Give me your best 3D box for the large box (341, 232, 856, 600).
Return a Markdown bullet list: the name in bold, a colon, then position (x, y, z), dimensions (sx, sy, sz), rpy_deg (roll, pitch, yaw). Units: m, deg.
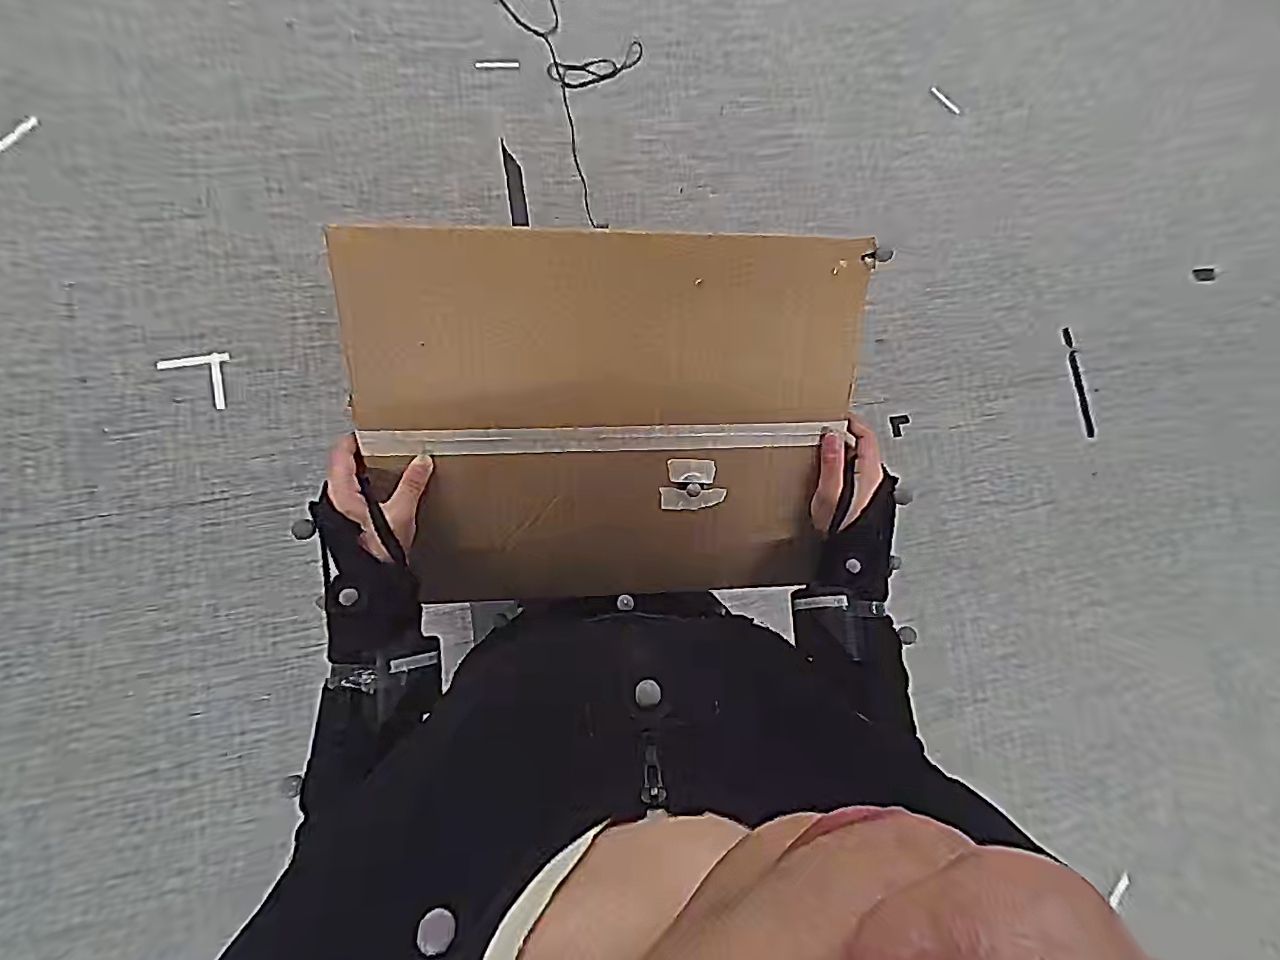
- **large box**: position (-0.042, -0.096, 0.603), dimensions (0.408, 0.320, 0.320), rpy_deg (-3, 113, -8)
